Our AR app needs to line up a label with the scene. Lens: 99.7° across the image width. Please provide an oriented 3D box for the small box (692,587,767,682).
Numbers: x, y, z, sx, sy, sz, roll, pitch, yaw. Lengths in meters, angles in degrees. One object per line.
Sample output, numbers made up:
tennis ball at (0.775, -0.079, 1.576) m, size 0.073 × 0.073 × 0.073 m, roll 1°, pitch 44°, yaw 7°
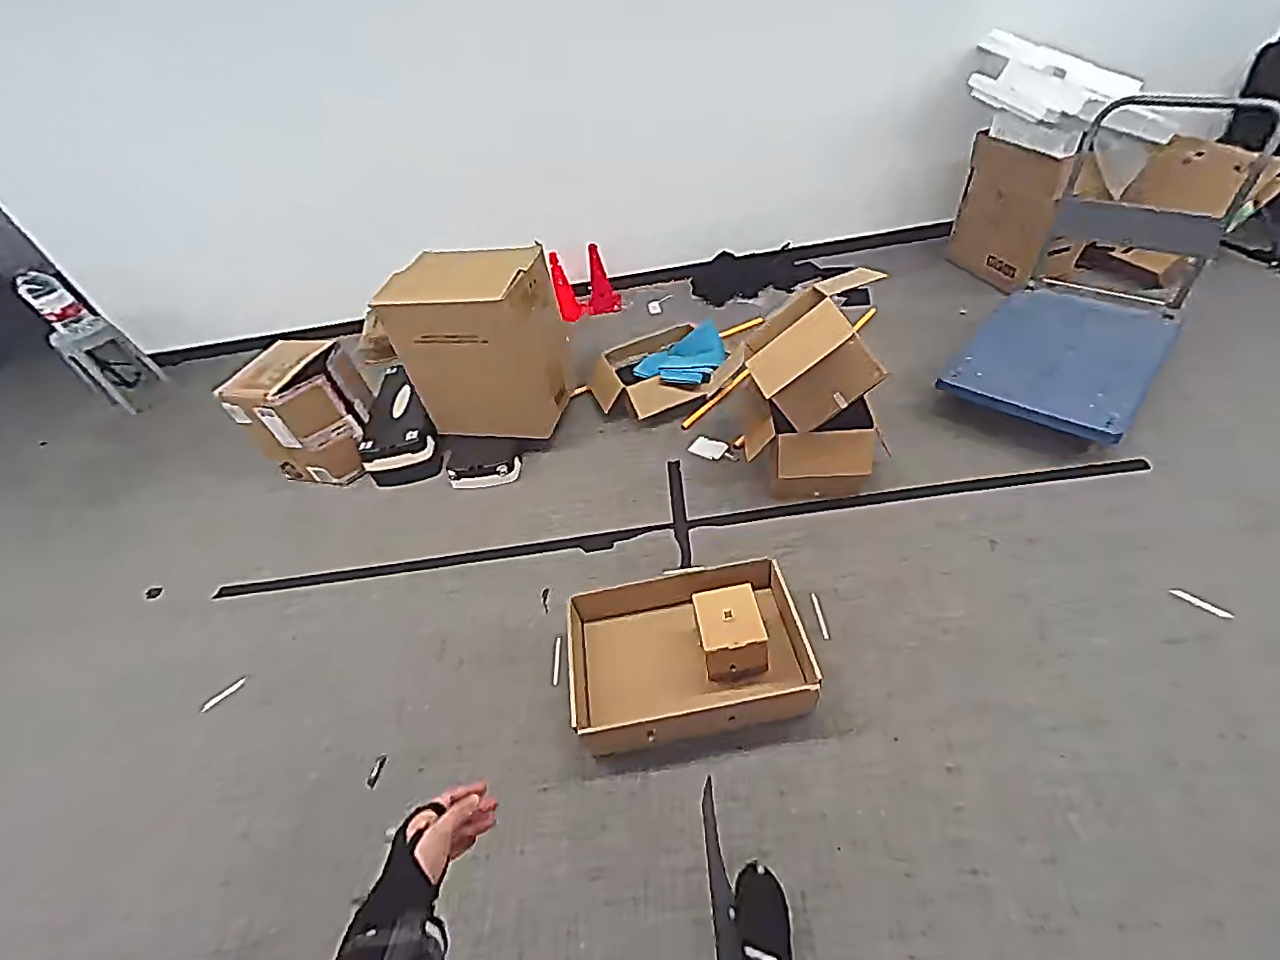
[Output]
small box at (0.241, 0.423, 1.477) m, size 0.168 × 0.176 × 0.179 m, roll -12°, pitch 45°, yaw 1°
